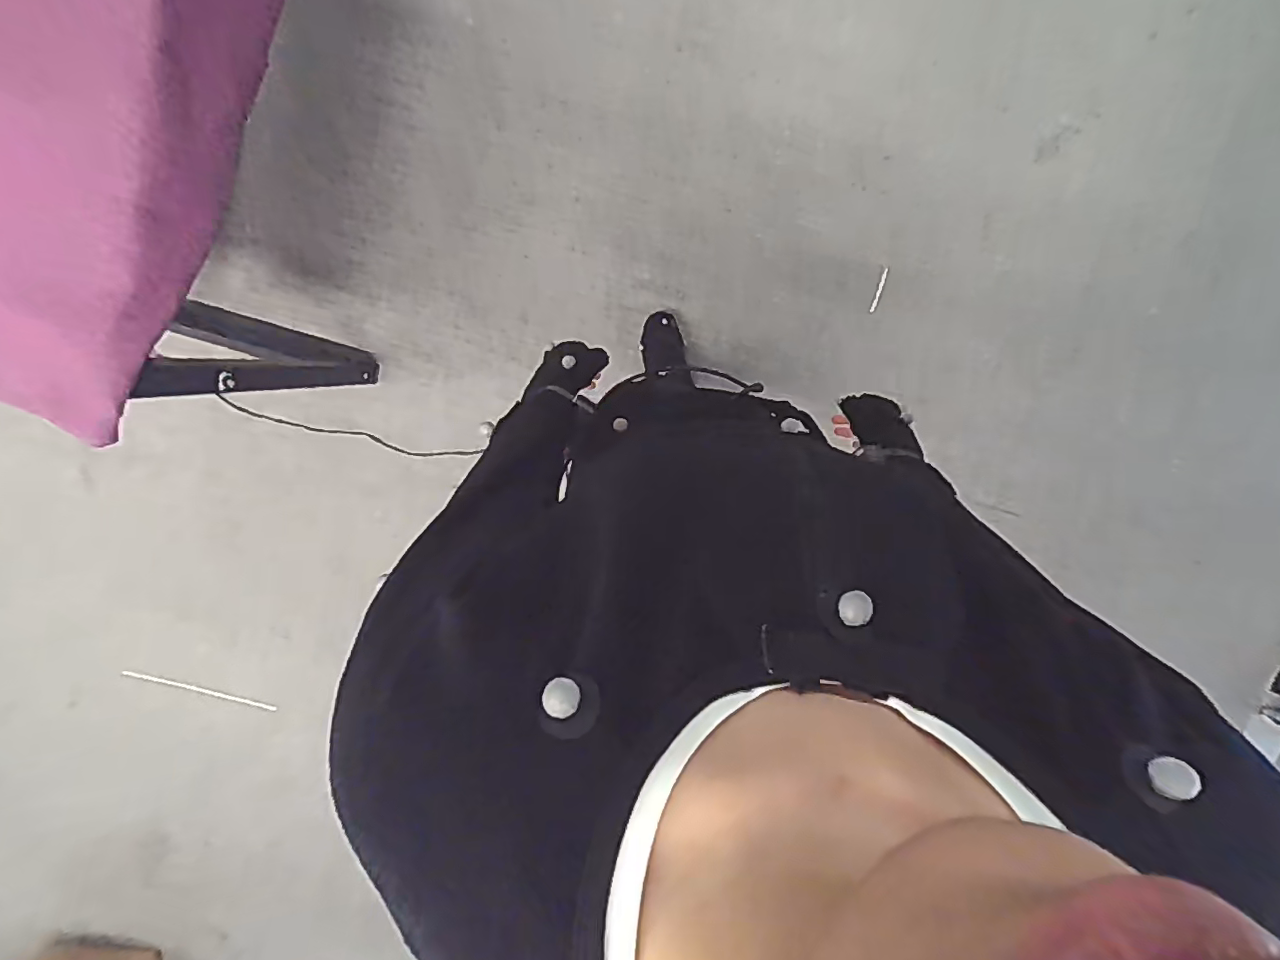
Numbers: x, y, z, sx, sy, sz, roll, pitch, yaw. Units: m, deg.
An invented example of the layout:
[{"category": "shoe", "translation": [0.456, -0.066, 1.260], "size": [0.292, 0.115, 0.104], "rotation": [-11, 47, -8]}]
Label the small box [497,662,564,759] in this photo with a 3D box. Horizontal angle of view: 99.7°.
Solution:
[{"category": "small box", "translation": [-0.320, 0.649, 1.541], "size": [0.168, 0.176, 0.179], "rotation": [14, 102, 0]}]
